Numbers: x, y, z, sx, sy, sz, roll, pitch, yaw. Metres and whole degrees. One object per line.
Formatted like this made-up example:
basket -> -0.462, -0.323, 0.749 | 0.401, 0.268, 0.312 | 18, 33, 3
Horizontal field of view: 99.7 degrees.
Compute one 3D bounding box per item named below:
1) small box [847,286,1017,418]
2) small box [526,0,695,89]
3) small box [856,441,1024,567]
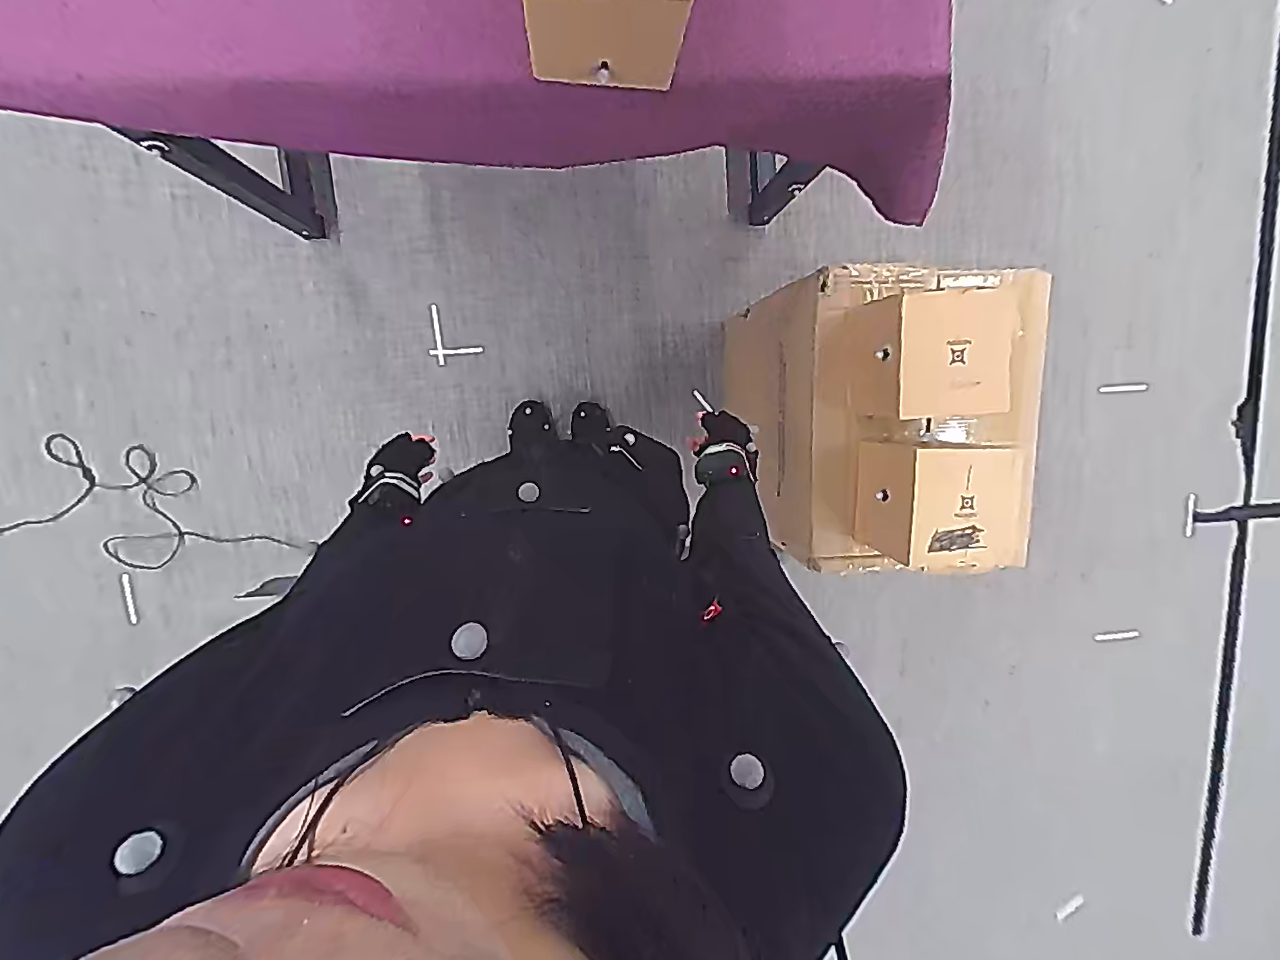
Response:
small box -> 0.430, -0.188, 0.823 | 0.168, 0.176, 0.179 | -3, 100, -4
small box -> -0.038, -0.581, 0.613 | 0.179, 0.176, 0.168 | 0, 97, -7
small box -> 0.460, 0.030, 0.856 | 0.168, 0.176, 0.179 | 0, 96, -5
